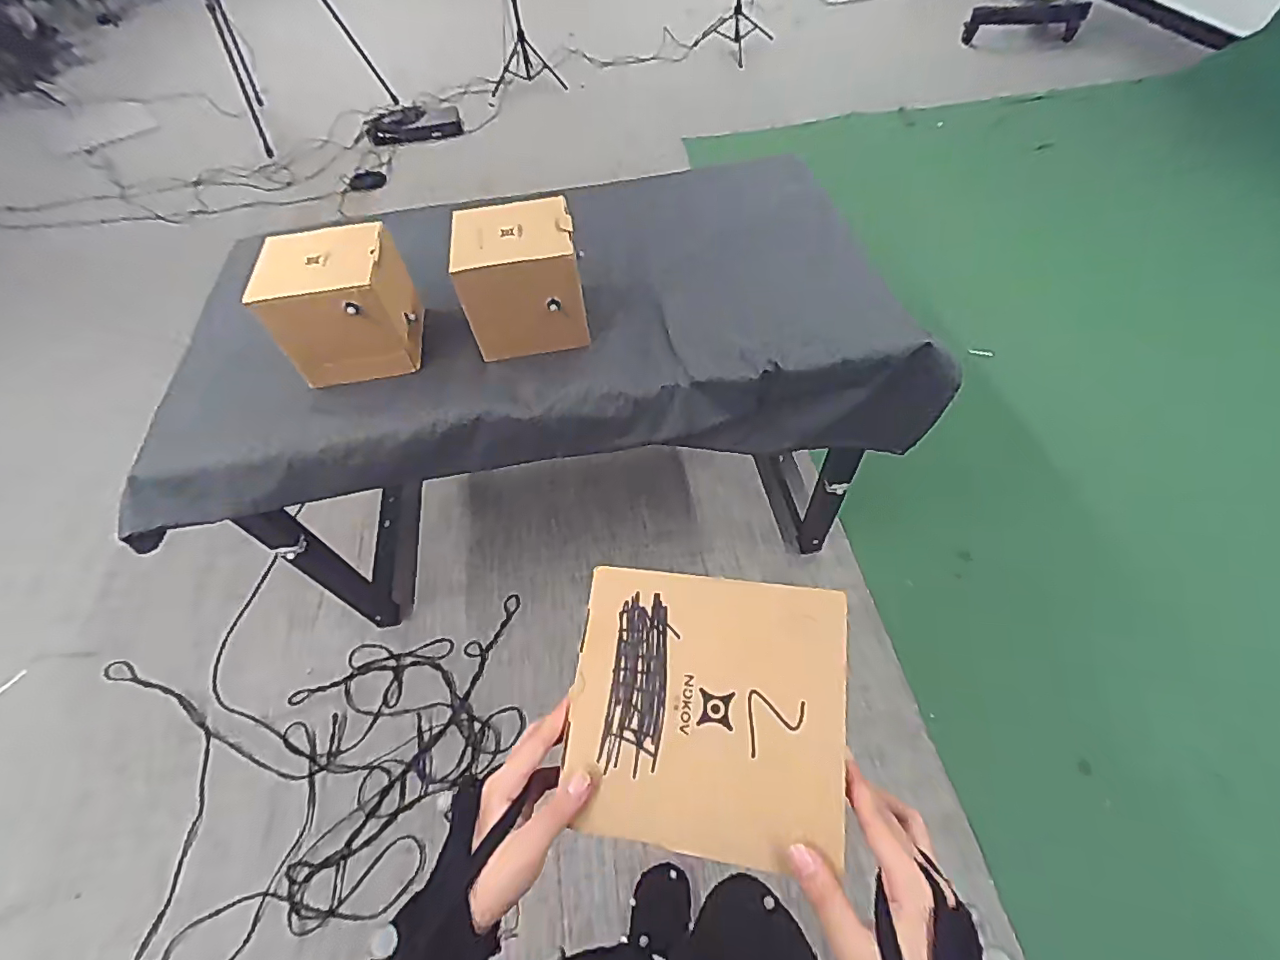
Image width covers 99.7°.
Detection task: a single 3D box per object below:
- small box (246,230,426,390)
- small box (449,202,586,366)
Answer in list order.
[{"bbox_3d":[-0.462,-0.261,0.853,0.179,0.176,0.168,-11,55,-3],"label":"small box"},{"bbox_3d":[-0.185,-0.307,0.861,0.179,0.176,0.168,-11,54,-1],"label":"small box"}]
